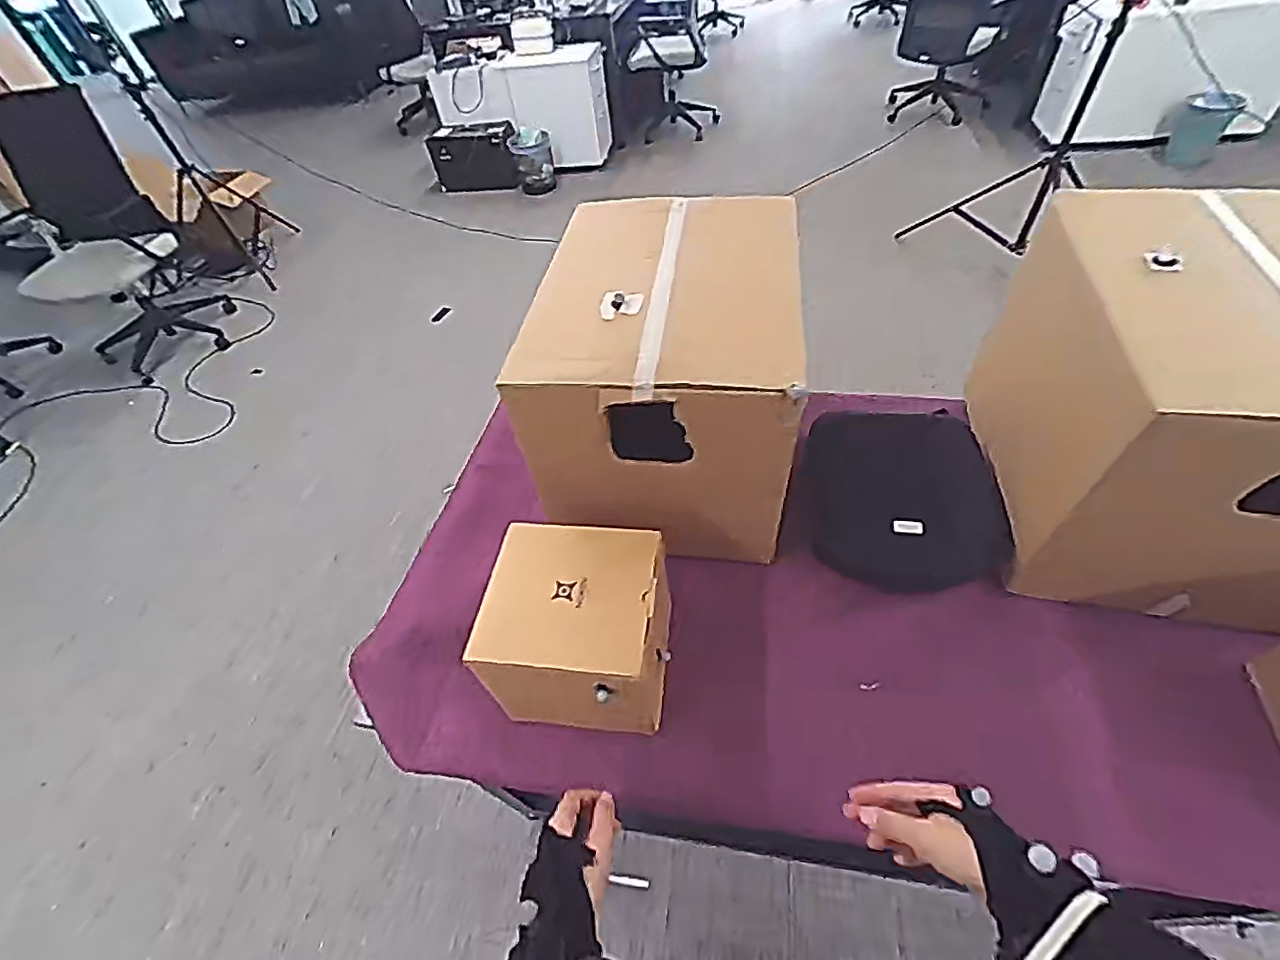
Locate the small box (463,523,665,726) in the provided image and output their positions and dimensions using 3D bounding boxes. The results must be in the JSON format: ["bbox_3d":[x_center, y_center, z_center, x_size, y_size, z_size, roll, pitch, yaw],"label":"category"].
[{"bbox_3d":[-0.069,0.166,0.616,0.179,0.176,0.168,2,49,8],"label":"small box"}]

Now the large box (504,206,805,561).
[{"bbox_3d":[0.043,-0.140,0.771,0.320,0.320,0.408,2,52,10],"label":"large box"}]
